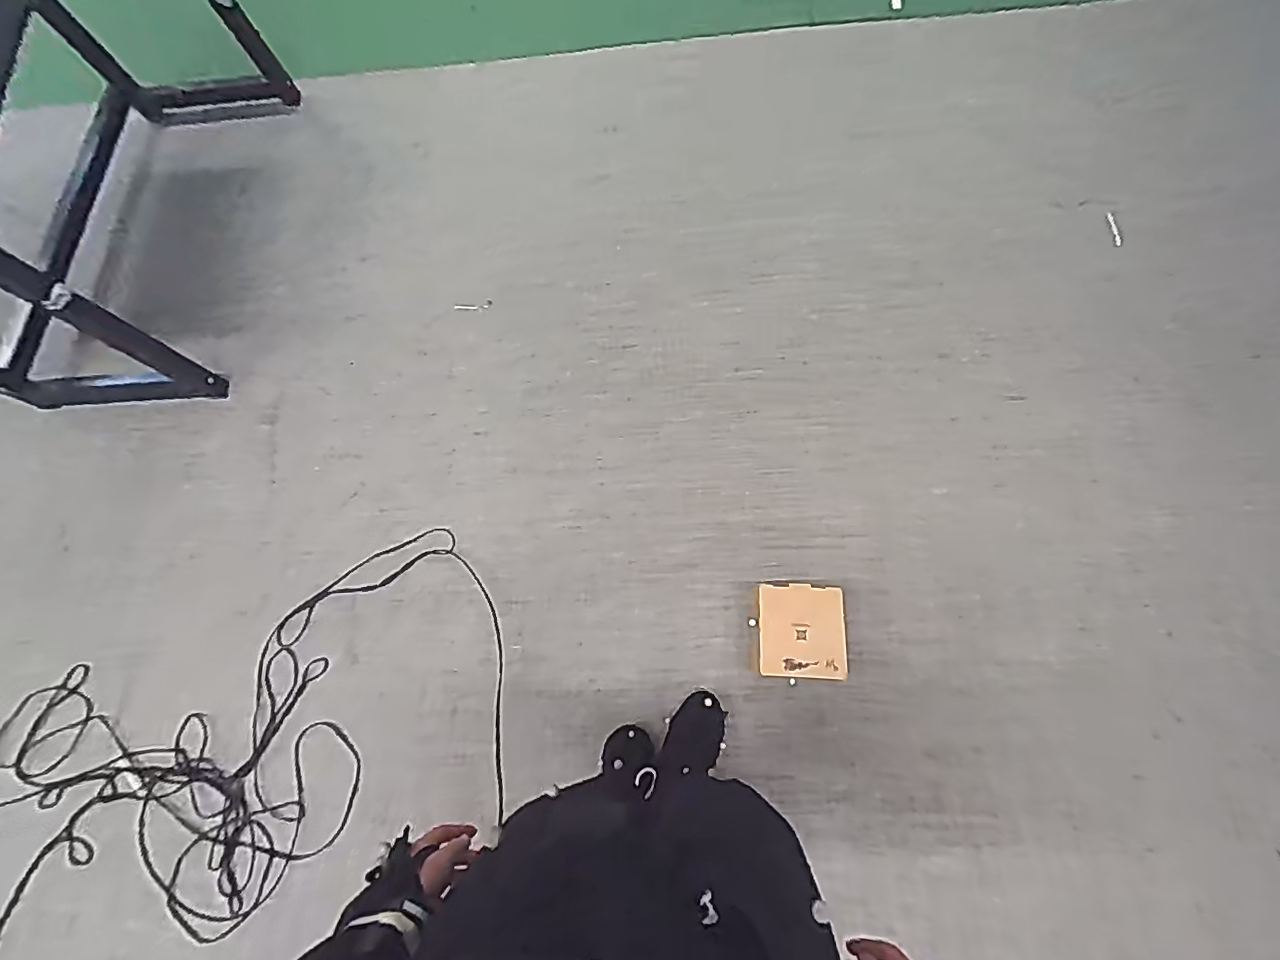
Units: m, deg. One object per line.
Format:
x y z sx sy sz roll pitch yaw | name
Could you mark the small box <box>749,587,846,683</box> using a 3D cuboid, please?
0.319 0.327 1.129 0.168 0.176 0.179 1 71 5 | small box
